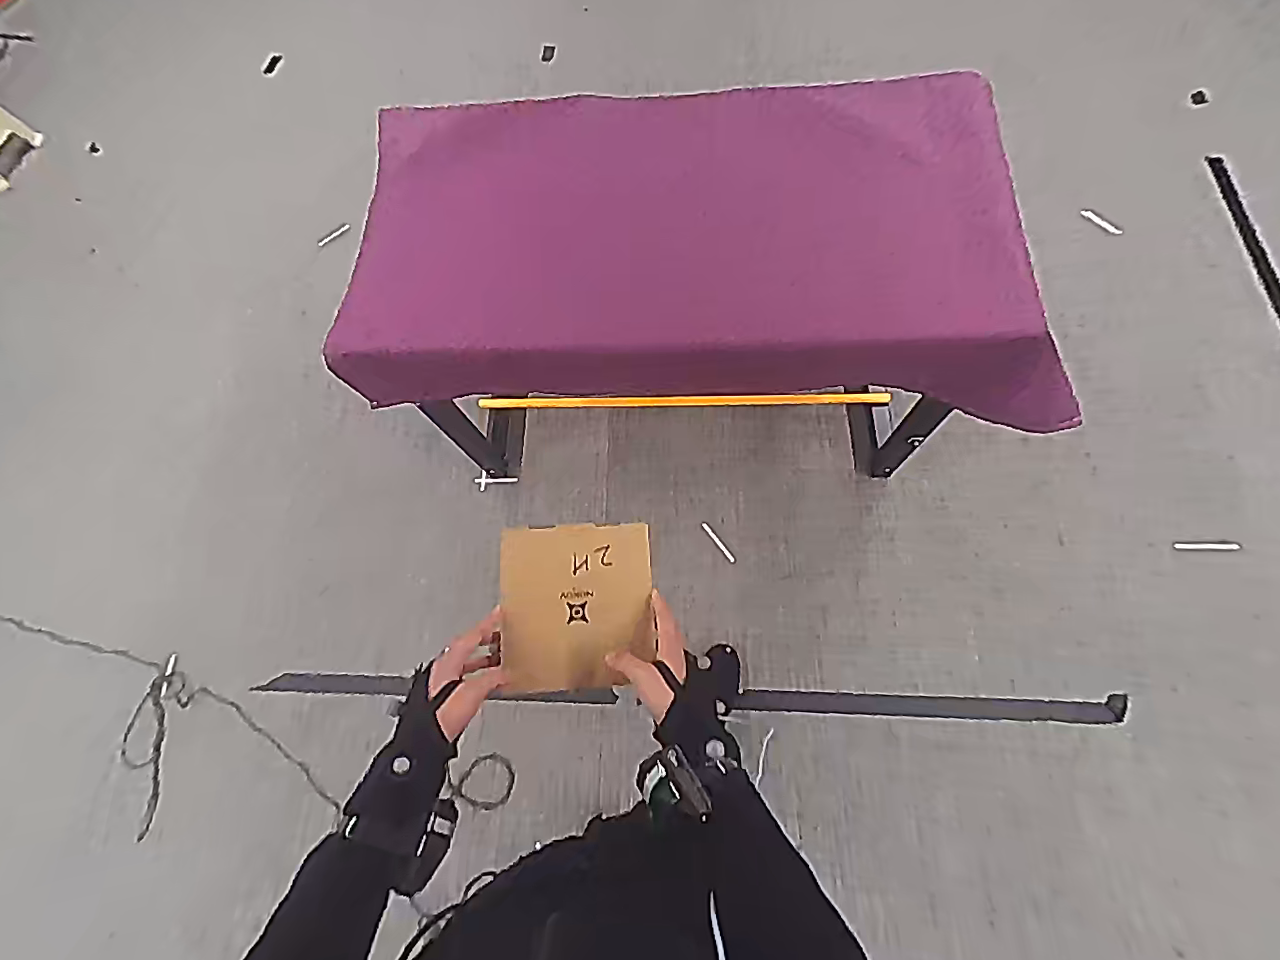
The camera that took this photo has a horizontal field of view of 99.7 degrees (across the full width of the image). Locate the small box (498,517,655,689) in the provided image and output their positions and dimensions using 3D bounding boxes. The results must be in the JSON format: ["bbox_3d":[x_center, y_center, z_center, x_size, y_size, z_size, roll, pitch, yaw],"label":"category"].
[{"bbox_3d":[-0.077,0.145,0.656,0.168,0.176,0.179,-1,76,-8],"label":"small box"}]
